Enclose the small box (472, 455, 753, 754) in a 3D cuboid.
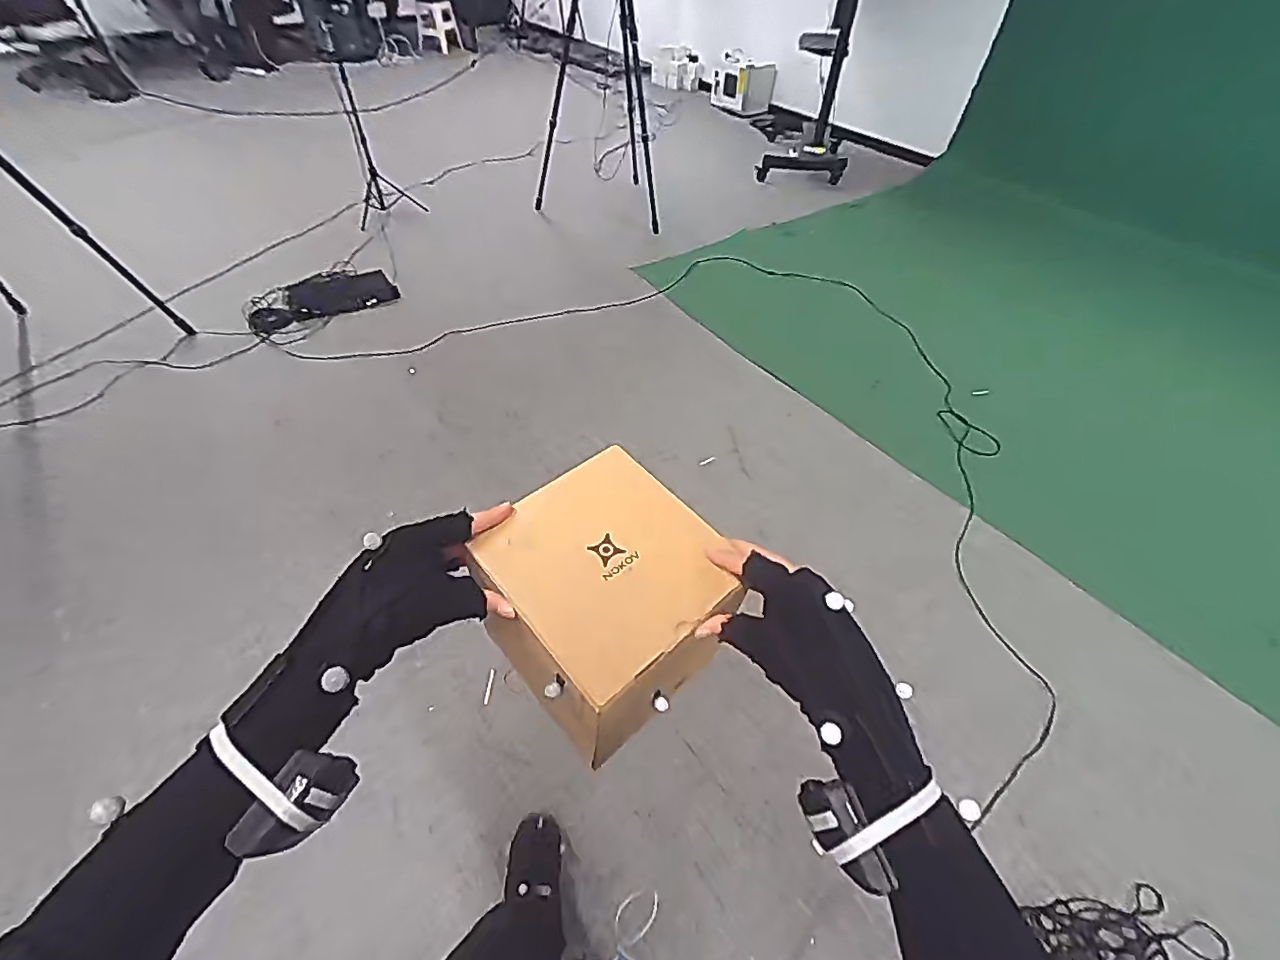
[{"bbox_3d":[-0.029,0.115,0.501,0.168,0.176,0.179,-34,61,-29],"label":"small box"}]
